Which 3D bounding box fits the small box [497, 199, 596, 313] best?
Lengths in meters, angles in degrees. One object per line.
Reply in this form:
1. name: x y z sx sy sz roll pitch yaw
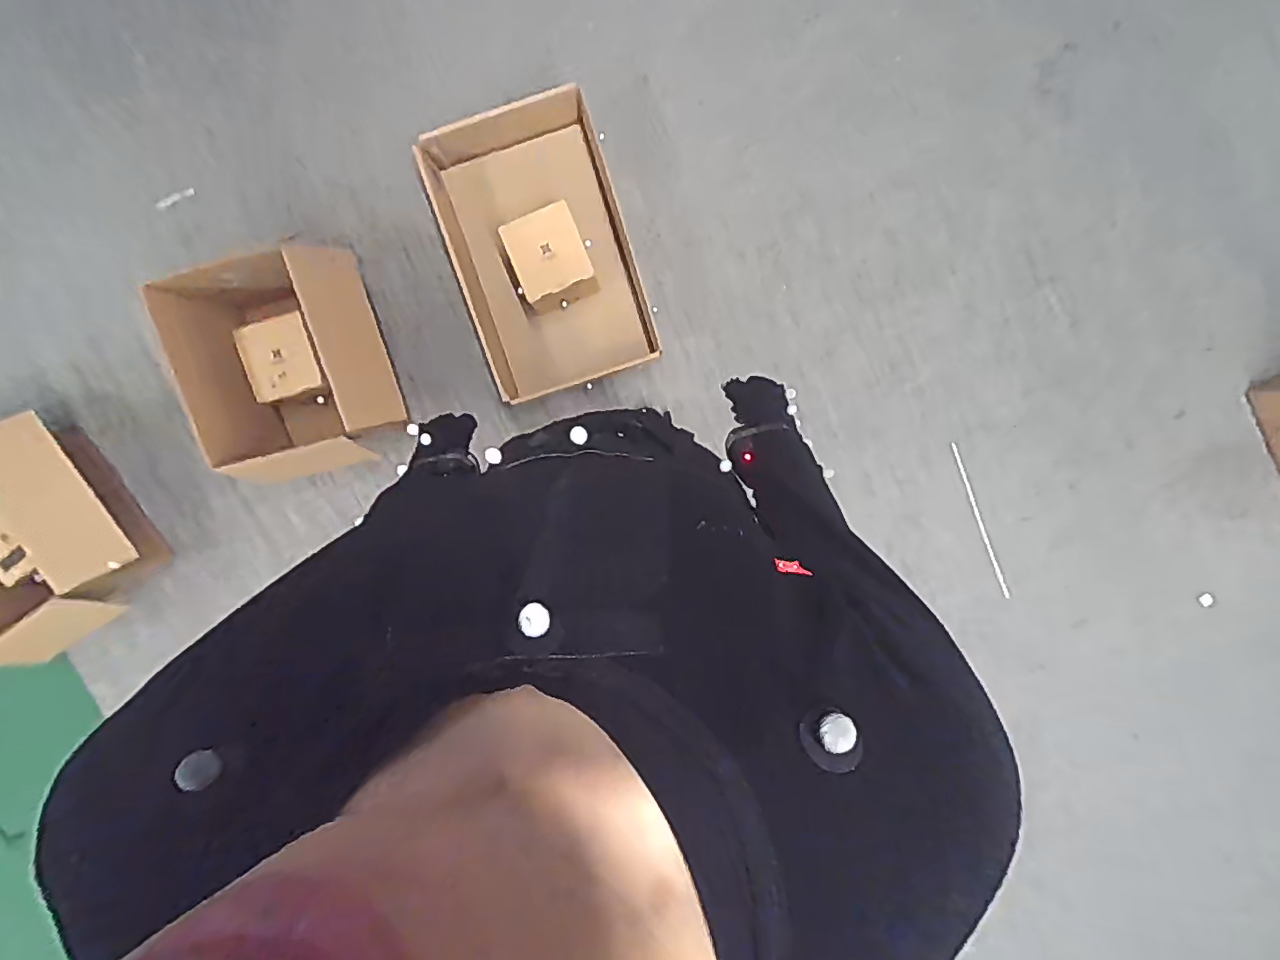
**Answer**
1. small box: -0.211 -0.518 1.273 0.168 0.176 0.179 -22 97 2
